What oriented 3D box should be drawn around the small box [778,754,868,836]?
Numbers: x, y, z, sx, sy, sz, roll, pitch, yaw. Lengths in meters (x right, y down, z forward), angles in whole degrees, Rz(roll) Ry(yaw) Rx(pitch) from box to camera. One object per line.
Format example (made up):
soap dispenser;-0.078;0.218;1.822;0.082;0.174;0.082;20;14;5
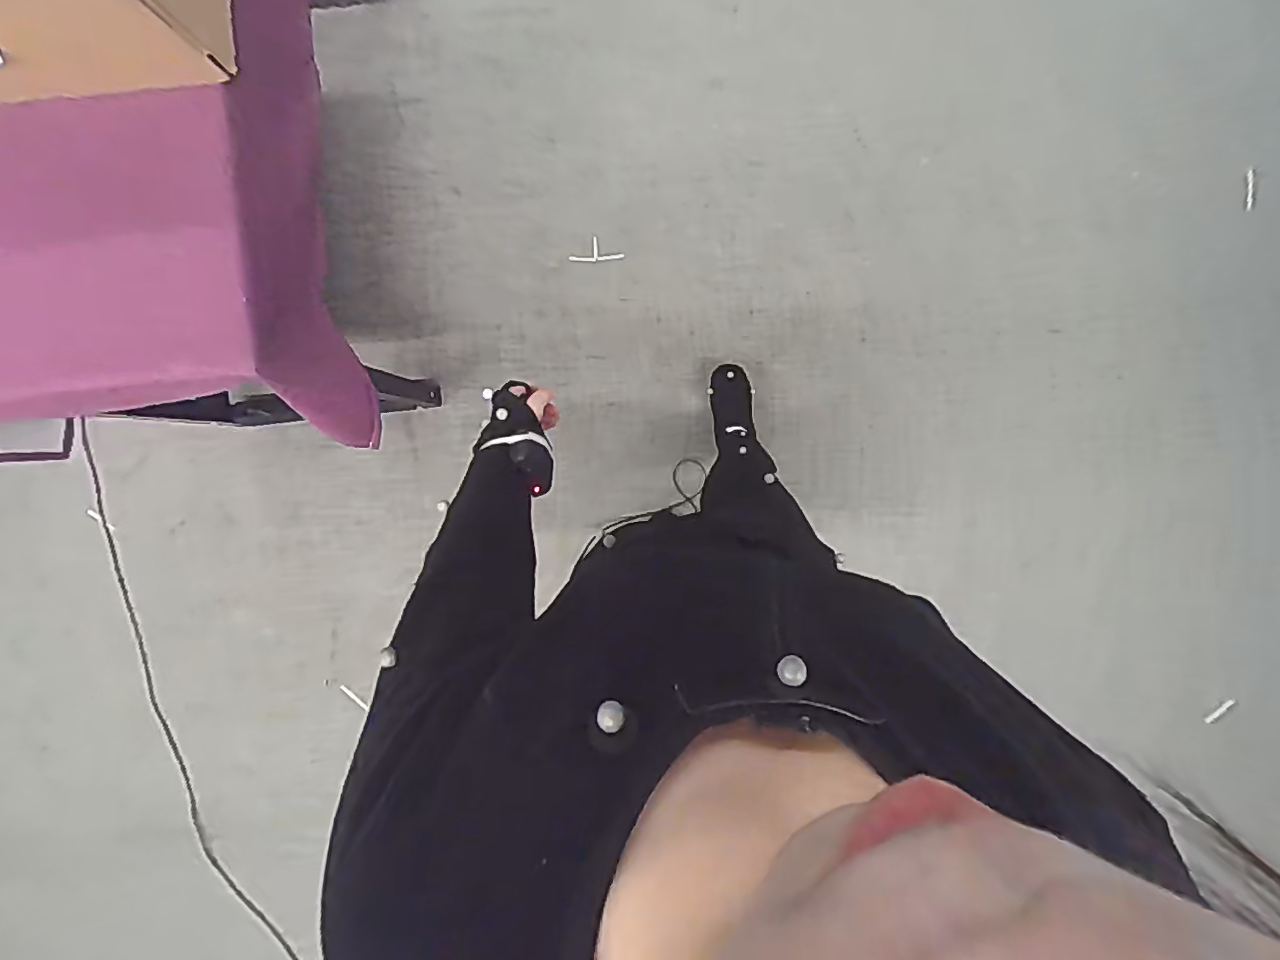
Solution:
small box;0.427;0.767;1.272;0.168;0.176;0.179;-6;93;2
